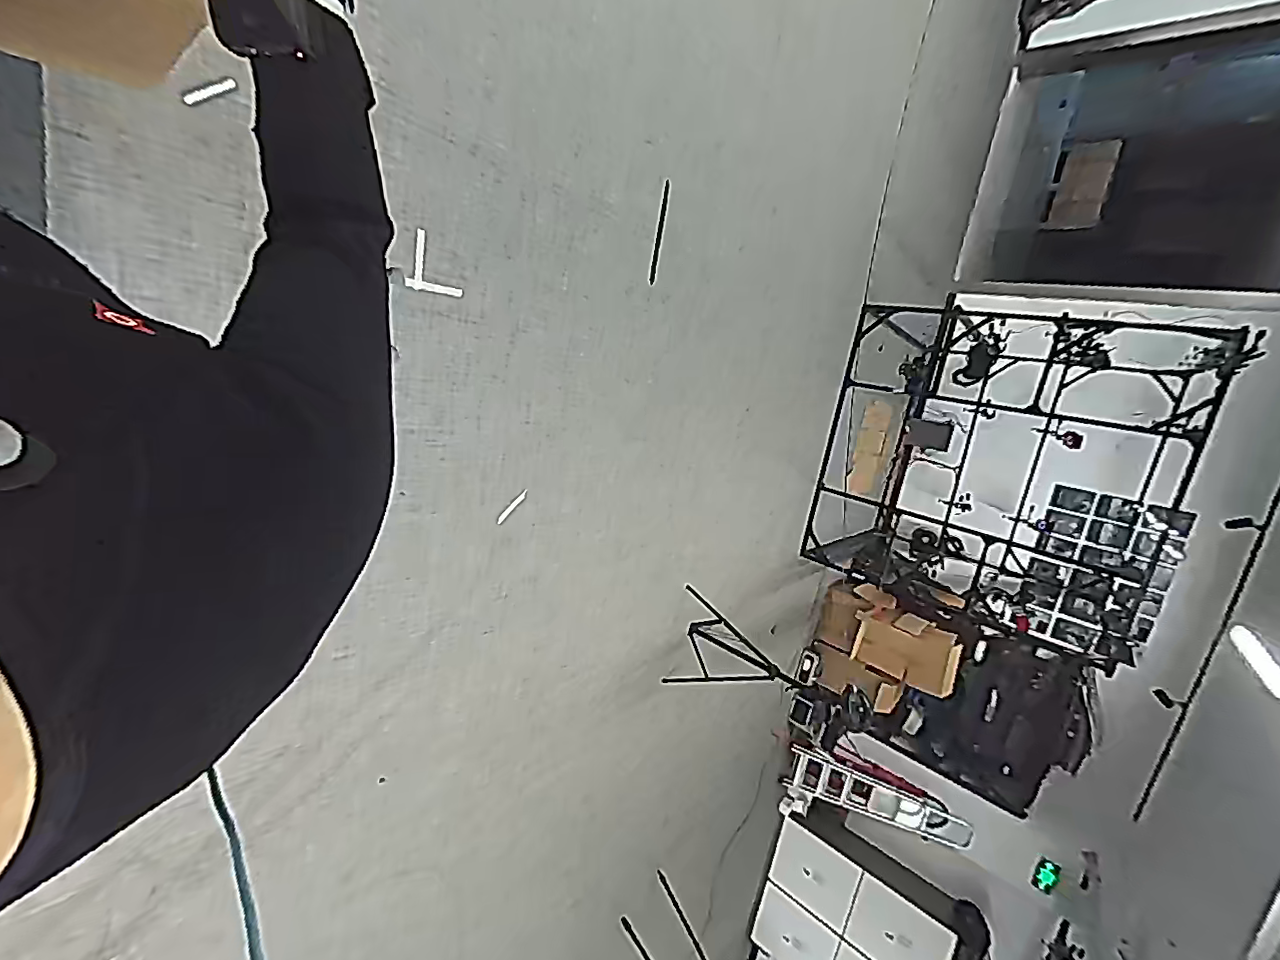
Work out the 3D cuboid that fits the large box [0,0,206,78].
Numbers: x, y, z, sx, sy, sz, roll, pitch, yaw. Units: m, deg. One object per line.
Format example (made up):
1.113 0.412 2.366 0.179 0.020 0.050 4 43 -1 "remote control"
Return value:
-0.503 -0.484 0.268 0.408 0.320 0.320 -13 113 -48 "large box"
